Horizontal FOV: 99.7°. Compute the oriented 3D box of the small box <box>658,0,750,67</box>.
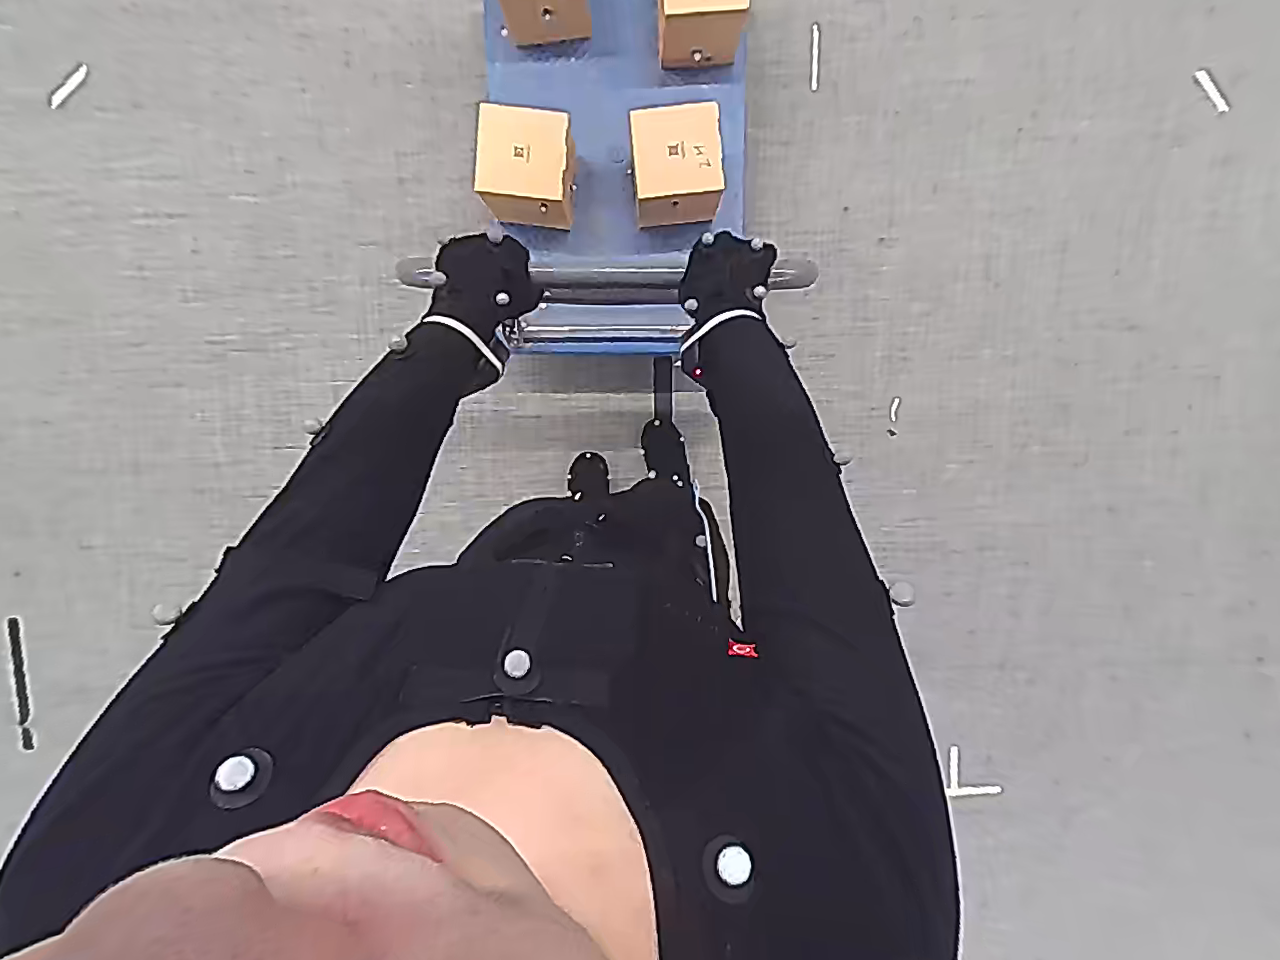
[{"bbox_3d":[0.124,-0.991,1.102,0.168,0.176,0.179,-4,98,0],"label":"small box"}]

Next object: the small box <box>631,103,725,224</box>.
[{"bbox_3d":[0.077,-0.658,1.144,0.179,0.176,0.168,-6,97,1],"label":"small box"}]

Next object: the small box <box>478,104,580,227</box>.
[{"bbox_3d":[-0.229,-0.654,1.144,0.179,0.176,0.168,5,97,-2],"label":"small box"}]
